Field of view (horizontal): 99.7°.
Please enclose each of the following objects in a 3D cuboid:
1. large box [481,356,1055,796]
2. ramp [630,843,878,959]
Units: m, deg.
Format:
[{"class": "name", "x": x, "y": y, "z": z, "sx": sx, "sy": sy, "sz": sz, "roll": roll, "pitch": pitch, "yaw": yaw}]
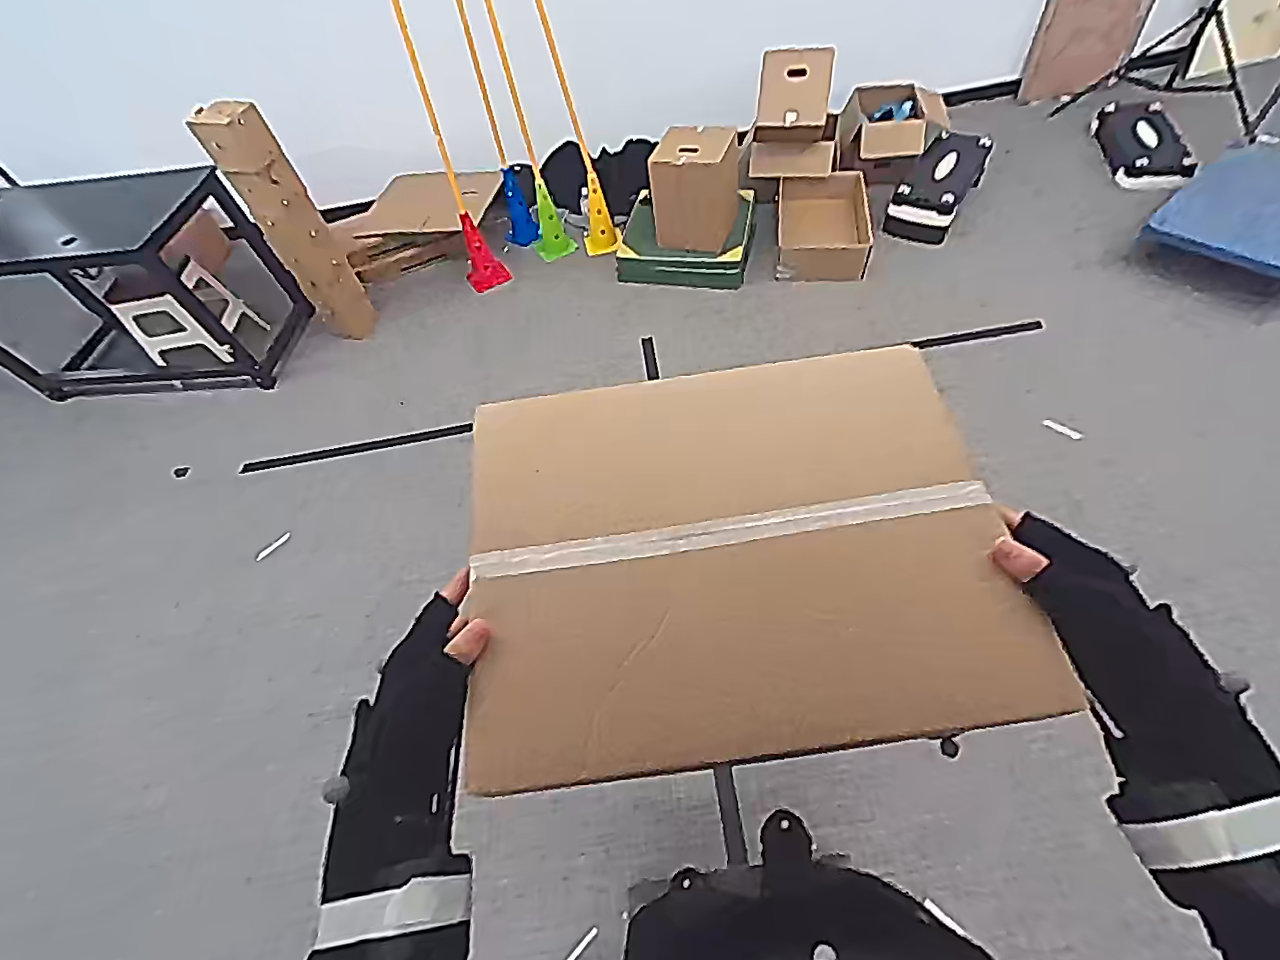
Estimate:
[{"class": "large box", "x": 0.081, "y": 0.116, "z": 0.566, "sx": 0.408, "sy": 0.320, "sz": 0.320, "roll": -9, "pitch": 61, "yaw": 0}, {"class": "ramp", "x": 0.288, "y": 1.277, "z": 0.983, "sx": 0.509, "sy": 0.206, "sz": 0.991, "roll": -10, "pitch": 56, "yaw": 0}]
